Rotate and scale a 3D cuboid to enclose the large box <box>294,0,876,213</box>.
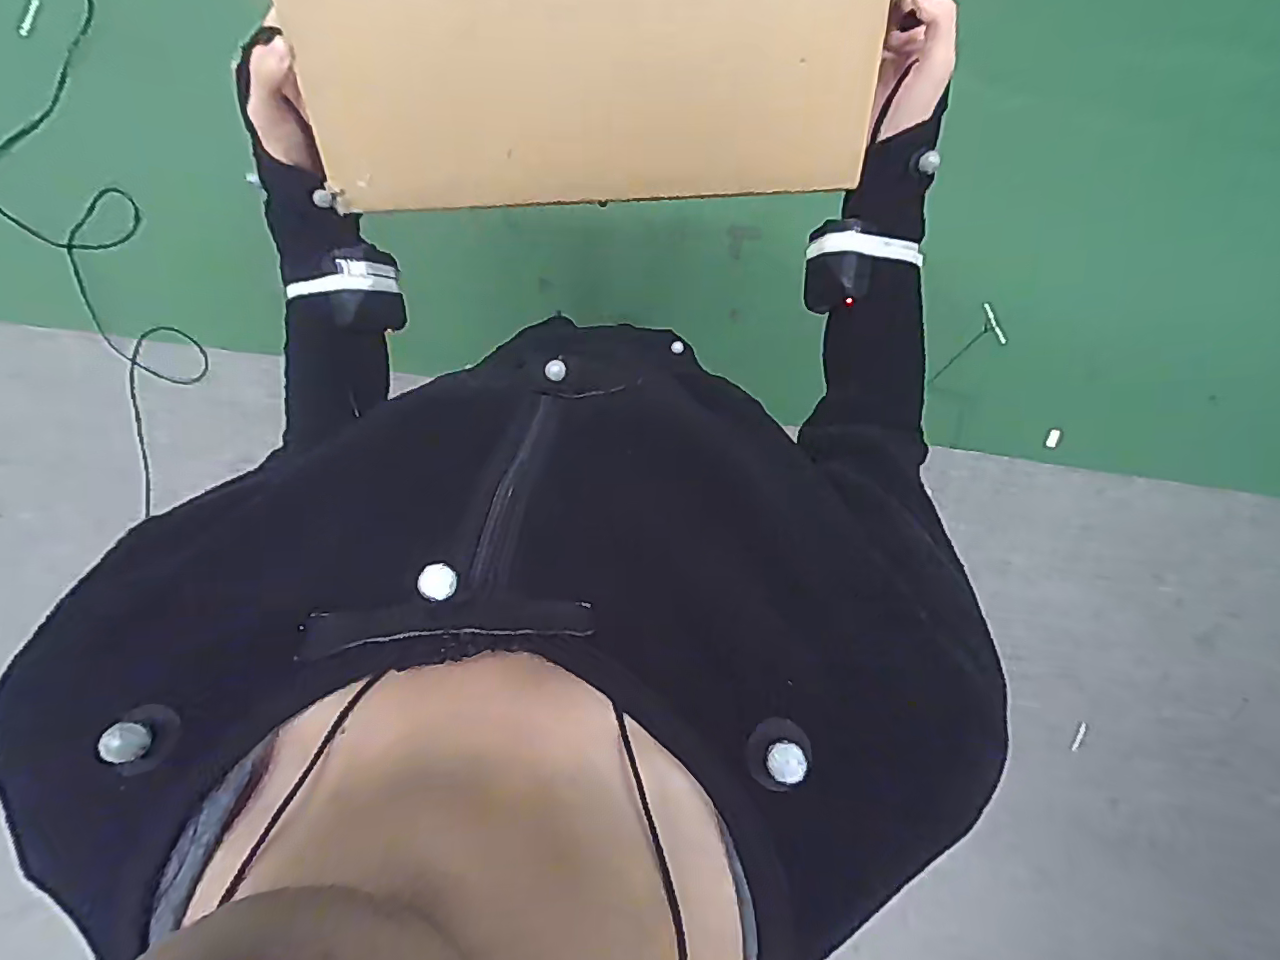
[{"bbox_3d":[-0.041,-0.436,0.475,0.408,0.320,0.320,-4,122,-1],"label":"large box"}]
